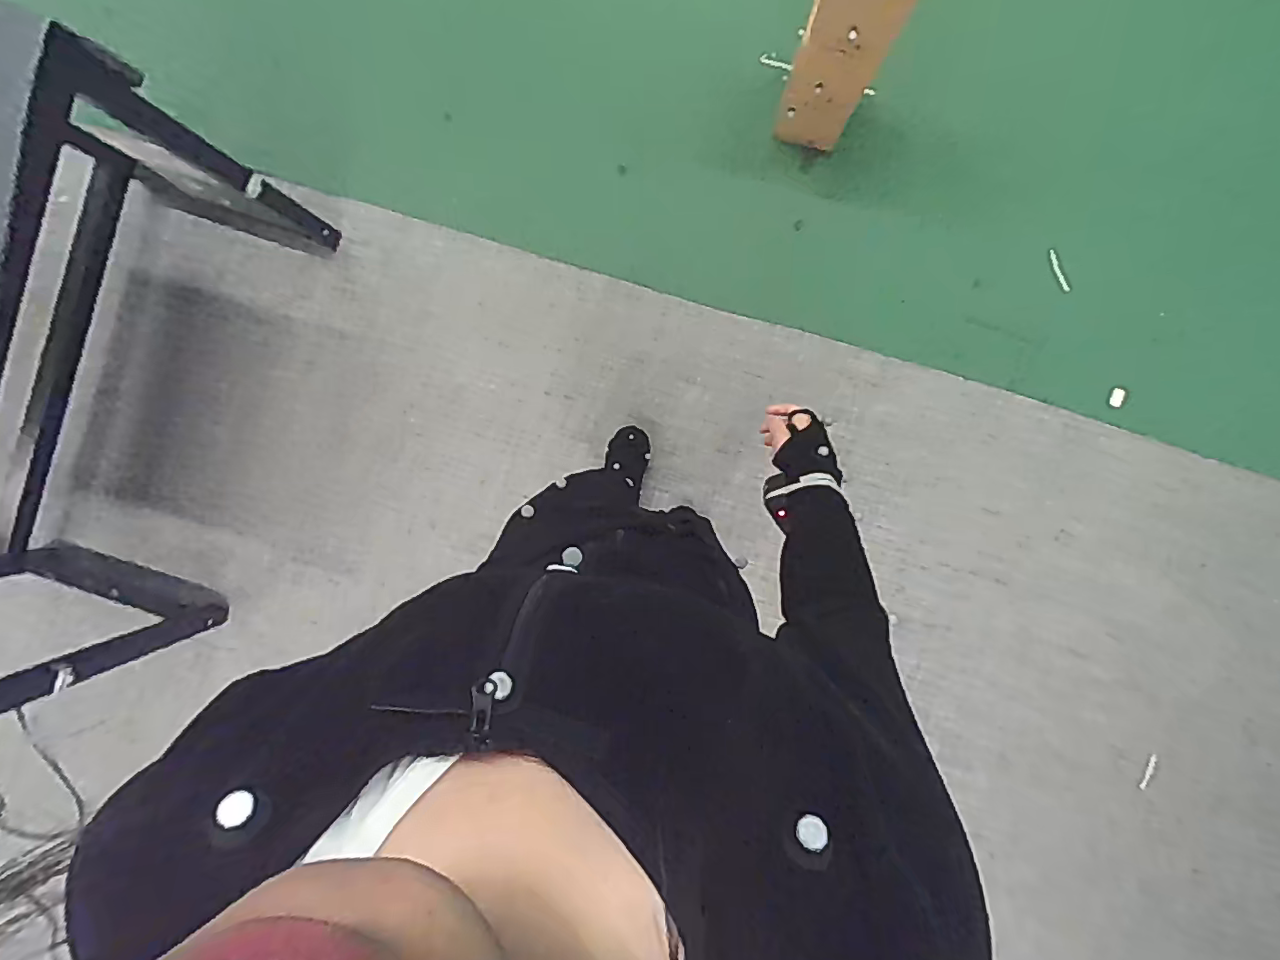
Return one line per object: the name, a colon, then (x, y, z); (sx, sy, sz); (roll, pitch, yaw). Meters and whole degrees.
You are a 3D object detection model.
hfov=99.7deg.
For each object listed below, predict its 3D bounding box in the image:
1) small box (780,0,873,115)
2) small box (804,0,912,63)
small box: (0.425, -0.962, 1.194); (0.168, 0.176, 0.179); (16, 93, 0)
small box: (0.431, -0.958, 1.029); (0.168, 0.176, 0.179); (18, 93, 0)
